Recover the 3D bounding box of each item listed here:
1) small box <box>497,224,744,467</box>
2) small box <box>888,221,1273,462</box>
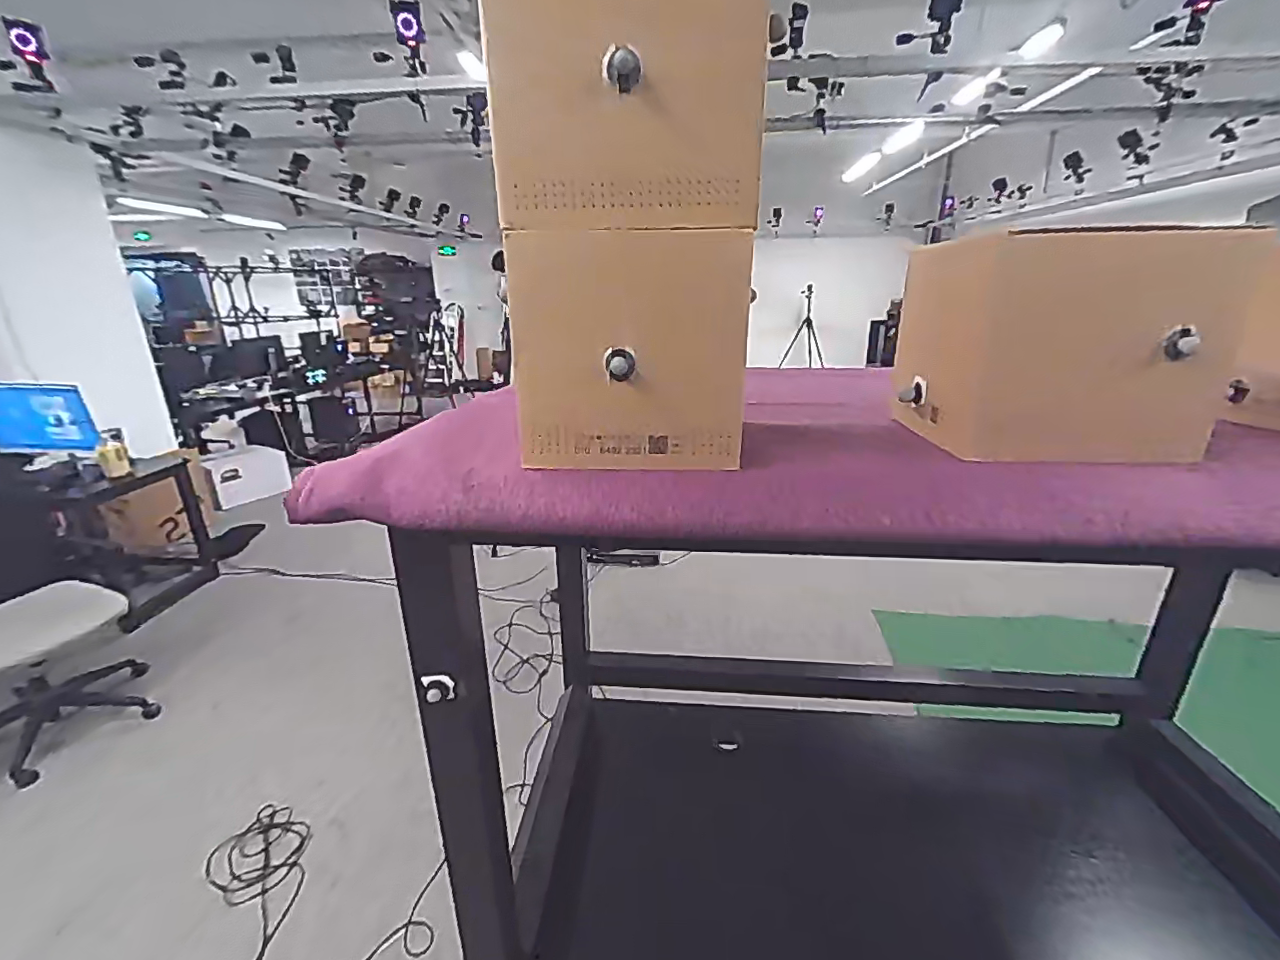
[{"bbox_3d":[-0.008,-0.114,0.454,0.168,0.176,0.179,1,20,2],"label":"small box"},{"bbox_3d":[0.335,-0.117,0.458,0.179,0.176,0.168,-1,19,3],"label":"small box"}]
